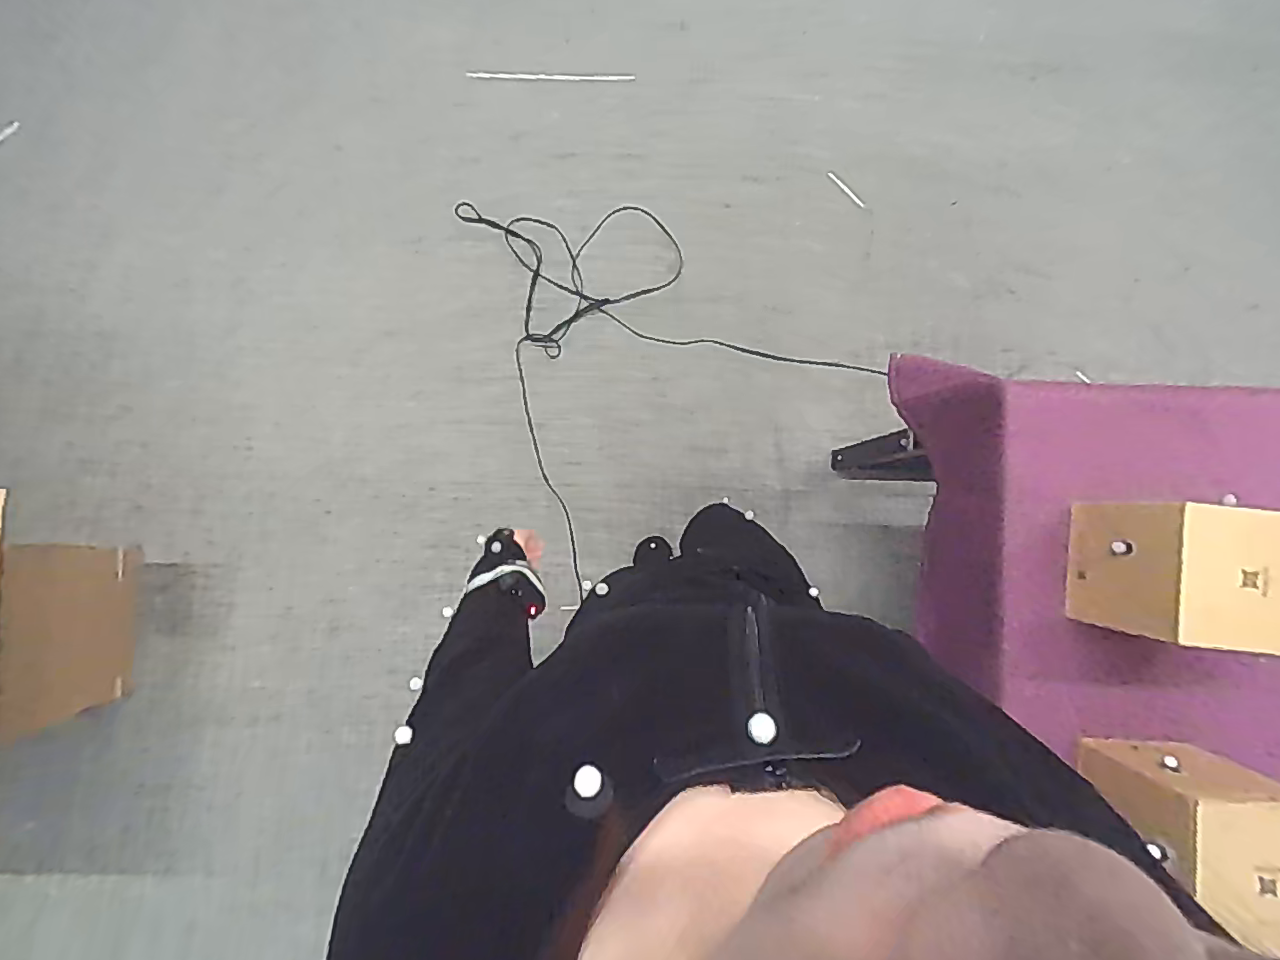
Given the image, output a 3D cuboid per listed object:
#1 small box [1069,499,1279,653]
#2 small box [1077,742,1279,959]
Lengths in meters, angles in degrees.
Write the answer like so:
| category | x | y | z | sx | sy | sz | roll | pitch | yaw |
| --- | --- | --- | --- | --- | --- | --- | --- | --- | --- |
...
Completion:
| category | x | y | z | sx | sy | sz | roll | pitch | yaw |
| --- | --- | --- | --- | --- | --- | --- | --- | --- | --- |
| small box | 0.699 | 0.117 | 0.693 | 0.179 | 0.176 | 0.168 | 6 | 87 | -1 |
| small box | 0.694 | 0.451 | 0.676 | 0.168 | 0.176 | 0.179 | 4 | 88 | 0 |
